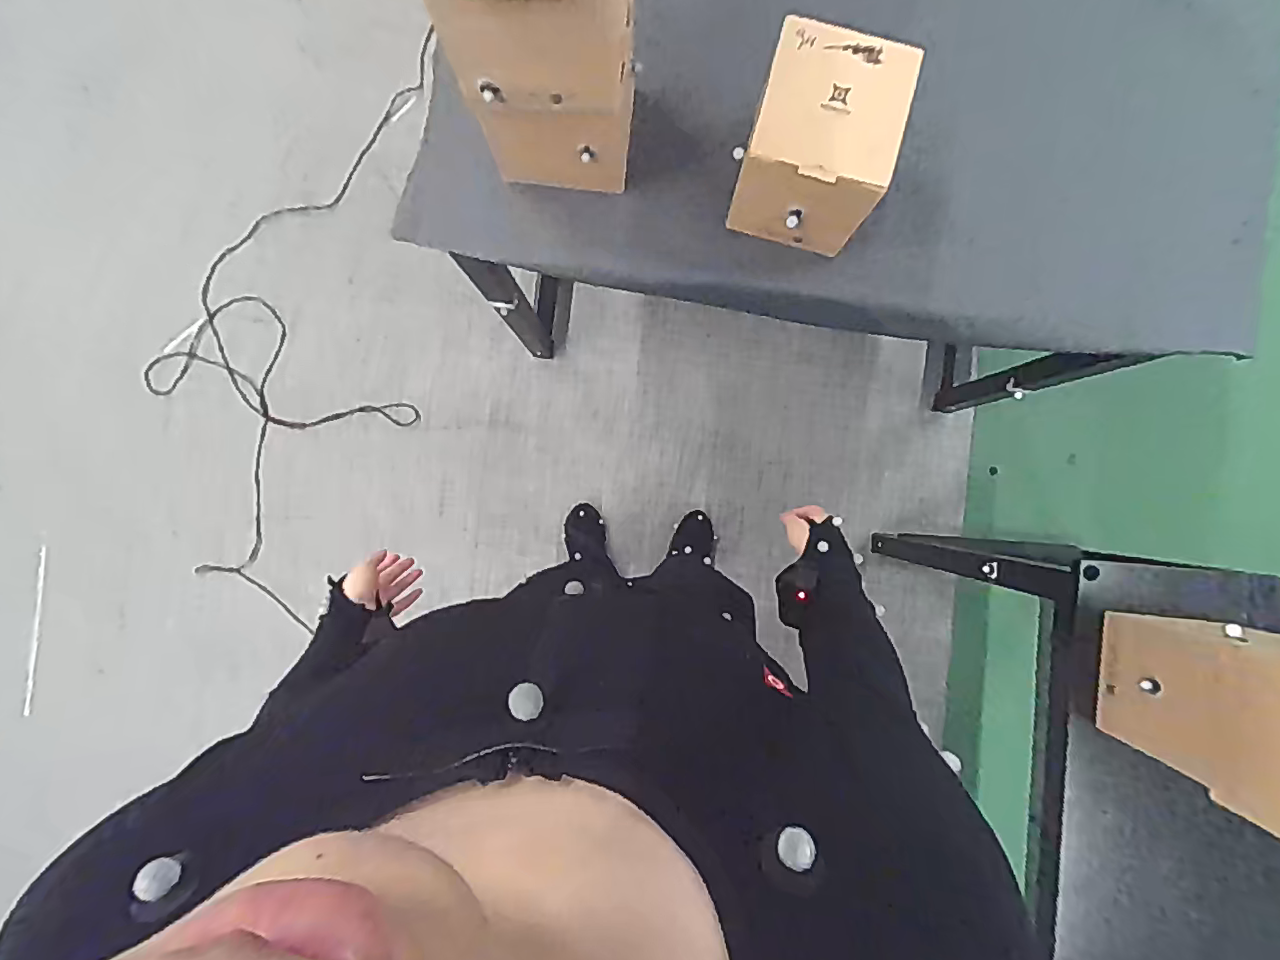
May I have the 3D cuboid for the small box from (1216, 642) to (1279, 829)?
[{"bbox_3d":[0.712,0.270,0.510,0.168,0.176,0.179,5,89,1],"label":"small box"}]

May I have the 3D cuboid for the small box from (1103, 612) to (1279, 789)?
[{"bbox_3d":[0.731,0.268,0.672,0.179,0.176,0.168,5,90,1],"label":"small box"}]

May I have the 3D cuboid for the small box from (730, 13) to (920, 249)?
[{"bbox_3d":[0.219,-0.427,0.692,0.168,0.176,0.179,15,88,1],"label":"small box"}]

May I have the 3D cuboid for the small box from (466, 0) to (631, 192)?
[{"bbox_3d":[-0.105,-0.500,0.699,0.179,0.176,0.168,5,87,2],"label":"small box"}]
